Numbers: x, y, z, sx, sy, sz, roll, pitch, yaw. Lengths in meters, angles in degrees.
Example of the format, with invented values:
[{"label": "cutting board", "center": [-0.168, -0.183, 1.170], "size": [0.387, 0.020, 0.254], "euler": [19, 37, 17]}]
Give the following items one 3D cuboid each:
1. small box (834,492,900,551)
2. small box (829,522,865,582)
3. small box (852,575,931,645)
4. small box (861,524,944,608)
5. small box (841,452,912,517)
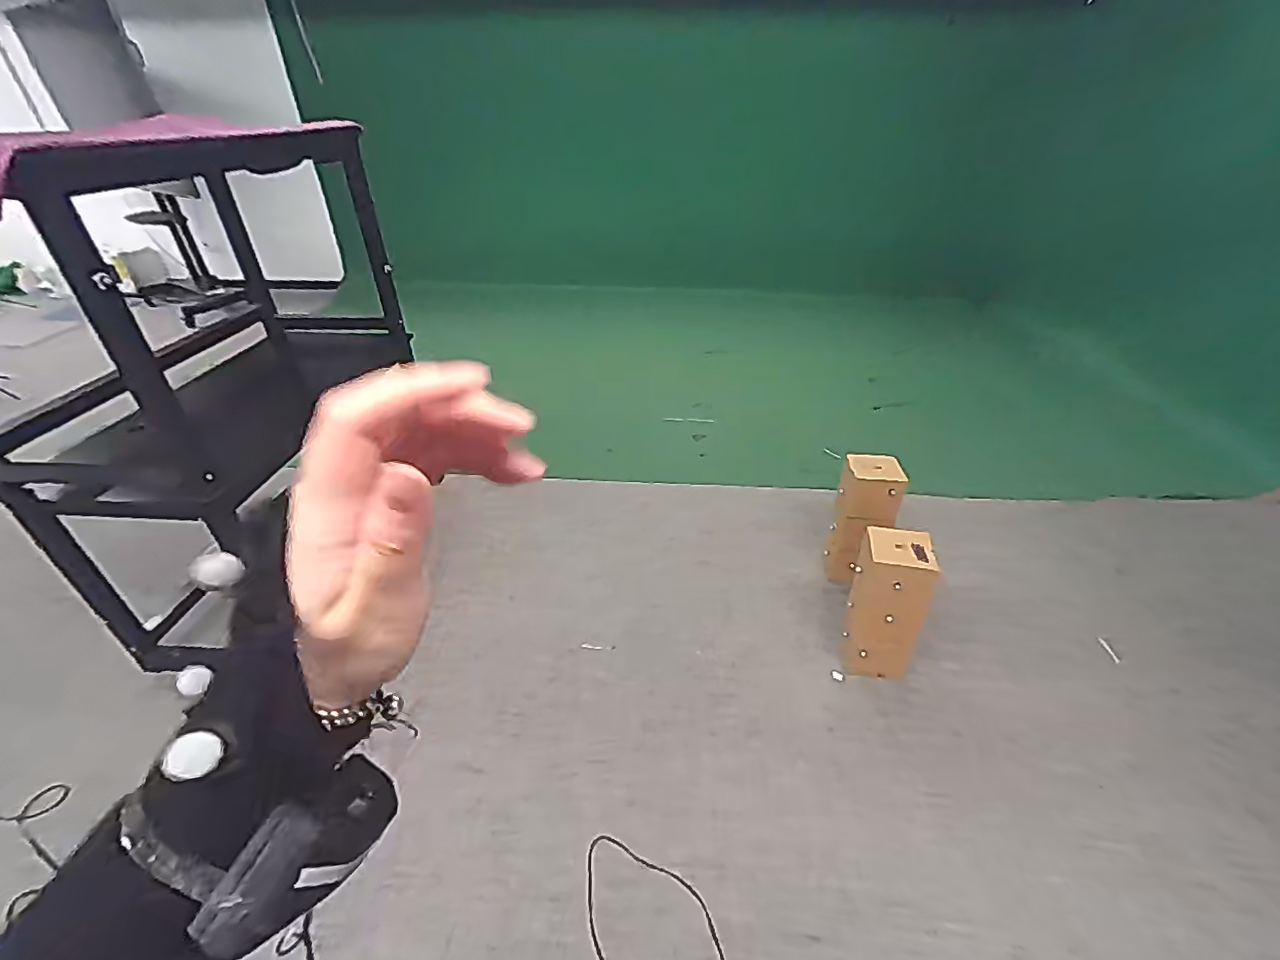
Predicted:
[{"label": "small box", "center": [0.842, 0.153, 2.022], "size": [0.179, 0.176, 0.168], "euler": [2, 34, 5]}, {"label": "small box", "center": [0.846, 0.285, 2.117], "size": [0.179, 0.176, 0.168], "euler": [4, 35, 8]}, {"label": "small box", "center": [0.775, 0.390, 1.683], "size": [0.179, 0.176, 0.168], "euler": [6, 35, 11]}, {"label": "small box", "center": [0.764, 0.255, 1.591], "size": [0.179, 0.176, 0.168], "euler": [6, 35, 13]}, {"label": "small box", "center": [0.837, 0.018, 1.926], "size": [0.179, 0.176, 0.168], "euler": [3, 33, 5]}]
